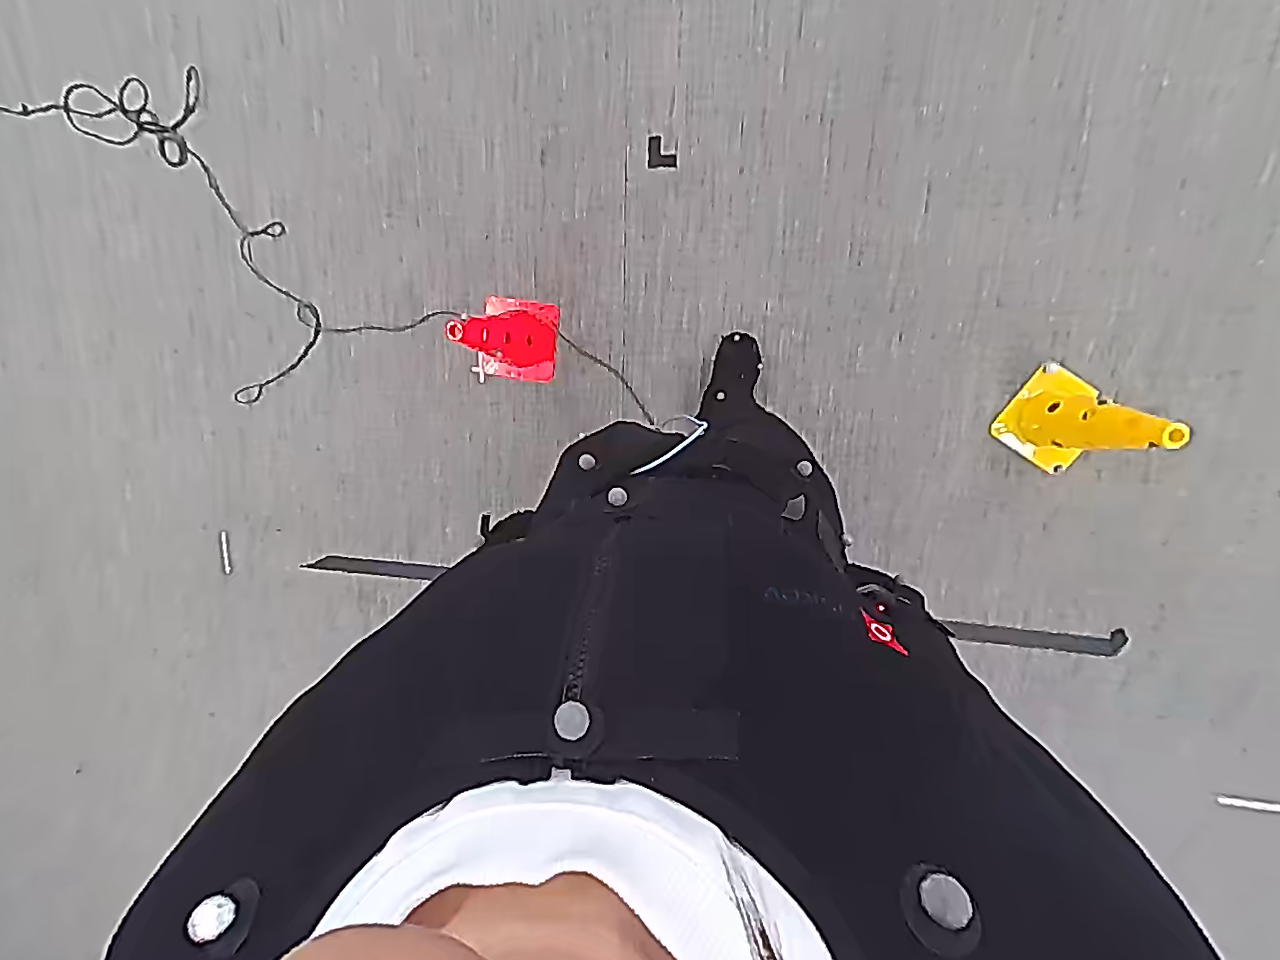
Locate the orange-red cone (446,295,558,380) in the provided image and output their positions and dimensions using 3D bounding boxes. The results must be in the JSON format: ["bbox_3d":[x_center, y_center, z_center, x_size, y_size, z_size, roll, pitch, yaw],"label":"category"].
[{"bbox_3d":[-0.341,-0.334,1.242,0.199,0.360,0.198,11,104,6],"label":"orange-red cone"}]

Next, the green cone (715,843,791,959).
[{"bbox_3d":[0.309,1.209,1.456,0.202,0.368,0.200,-12,99,12],"label":"green cone"}]
